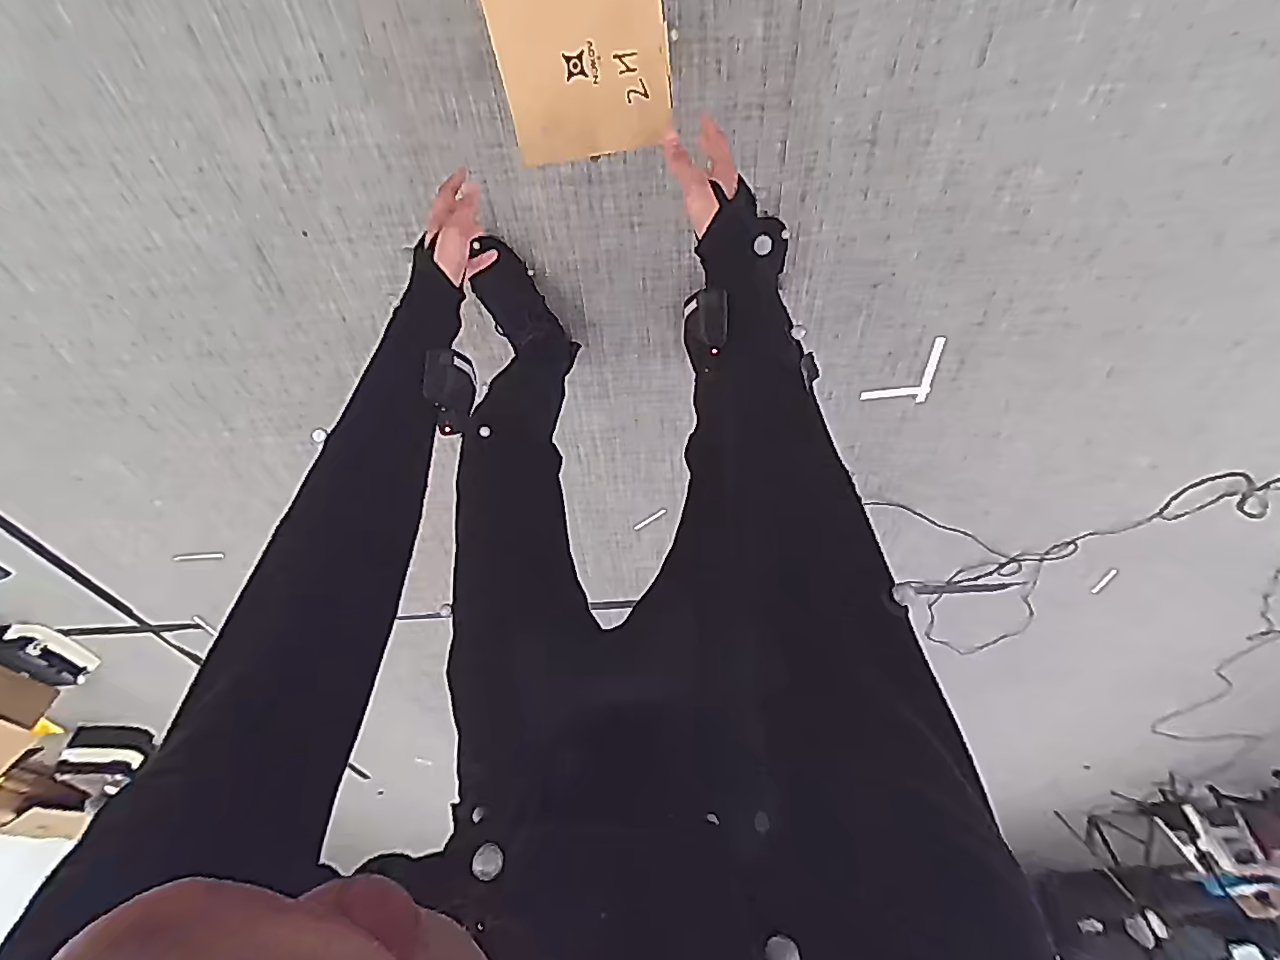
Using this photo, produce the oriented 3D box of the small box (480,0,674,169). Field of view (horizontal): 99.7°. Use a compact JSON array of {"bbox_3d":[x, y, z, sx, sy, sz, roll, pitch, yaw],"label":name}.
[{"bbox_3d":[-0.057,-0.473,0.607,0.179,0.176,0.168,-6,135,5],"label":"small box"}]
